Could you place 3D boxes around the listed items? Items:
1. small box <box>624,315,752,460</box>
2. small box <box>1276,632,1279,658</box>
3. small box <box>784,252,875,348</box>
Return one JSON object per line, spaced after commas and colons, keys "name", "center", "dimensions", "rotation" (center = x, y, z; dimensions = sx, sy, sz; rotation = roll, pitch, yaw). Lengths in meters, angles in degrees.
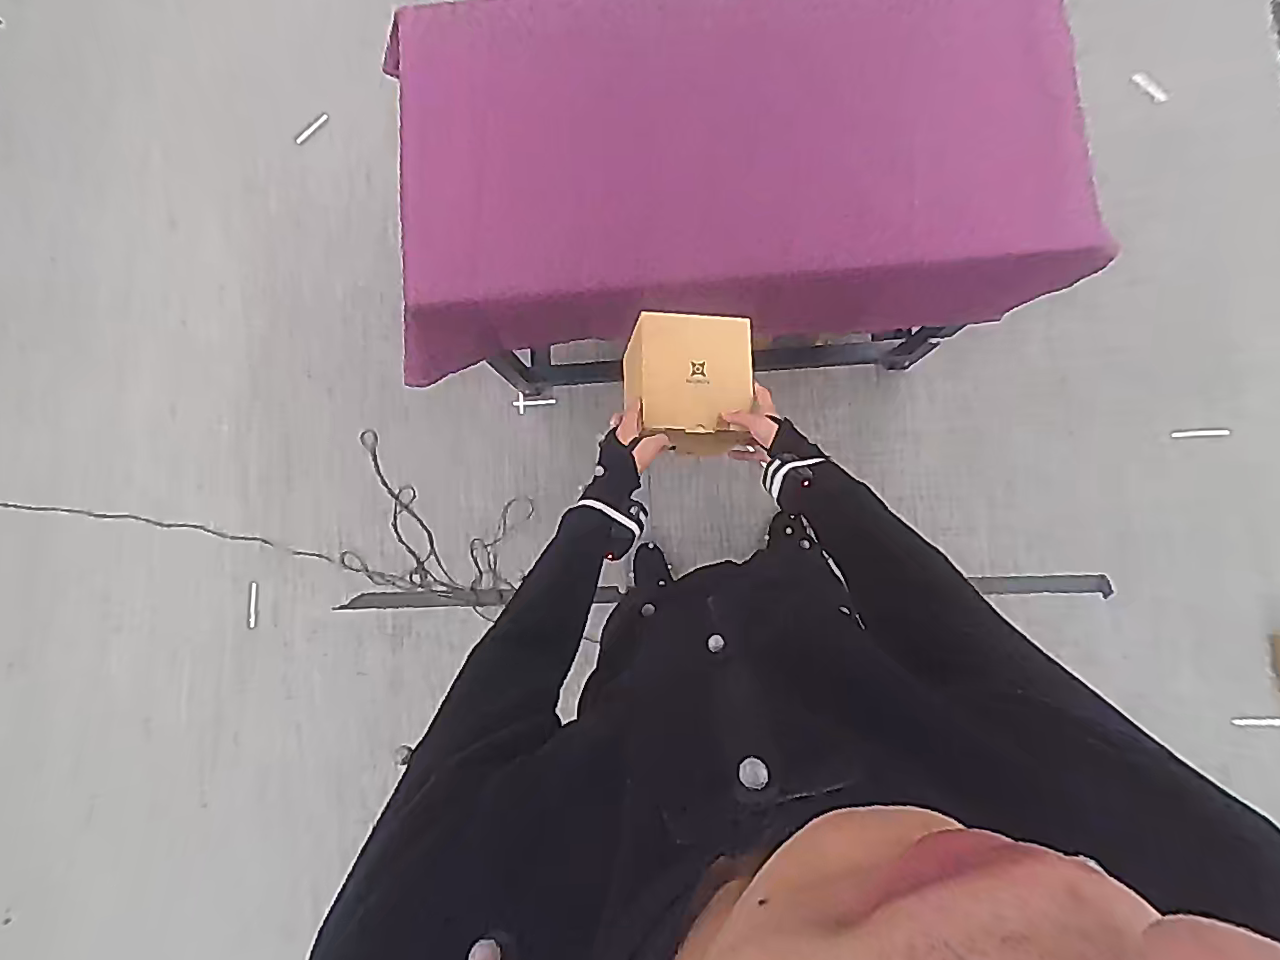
{"name": "small box", "center": [0.067, -0.137, 0.853], "dimensions": [0.168, 0.176, 0.179], "rotation": [1, 81, -10]}
{"name": "small box", "center": [1.823, 0.490, 1.392], "dimensions": [0.168, 0.176, 0.179], "rotation": [-5, 84, 4]}
{"name": "small box", "center": [0.547, -0.521, 1.590], "dimensions": [0.168, 0.176, 0.179], "rotation": [-32, 82, 1]}
